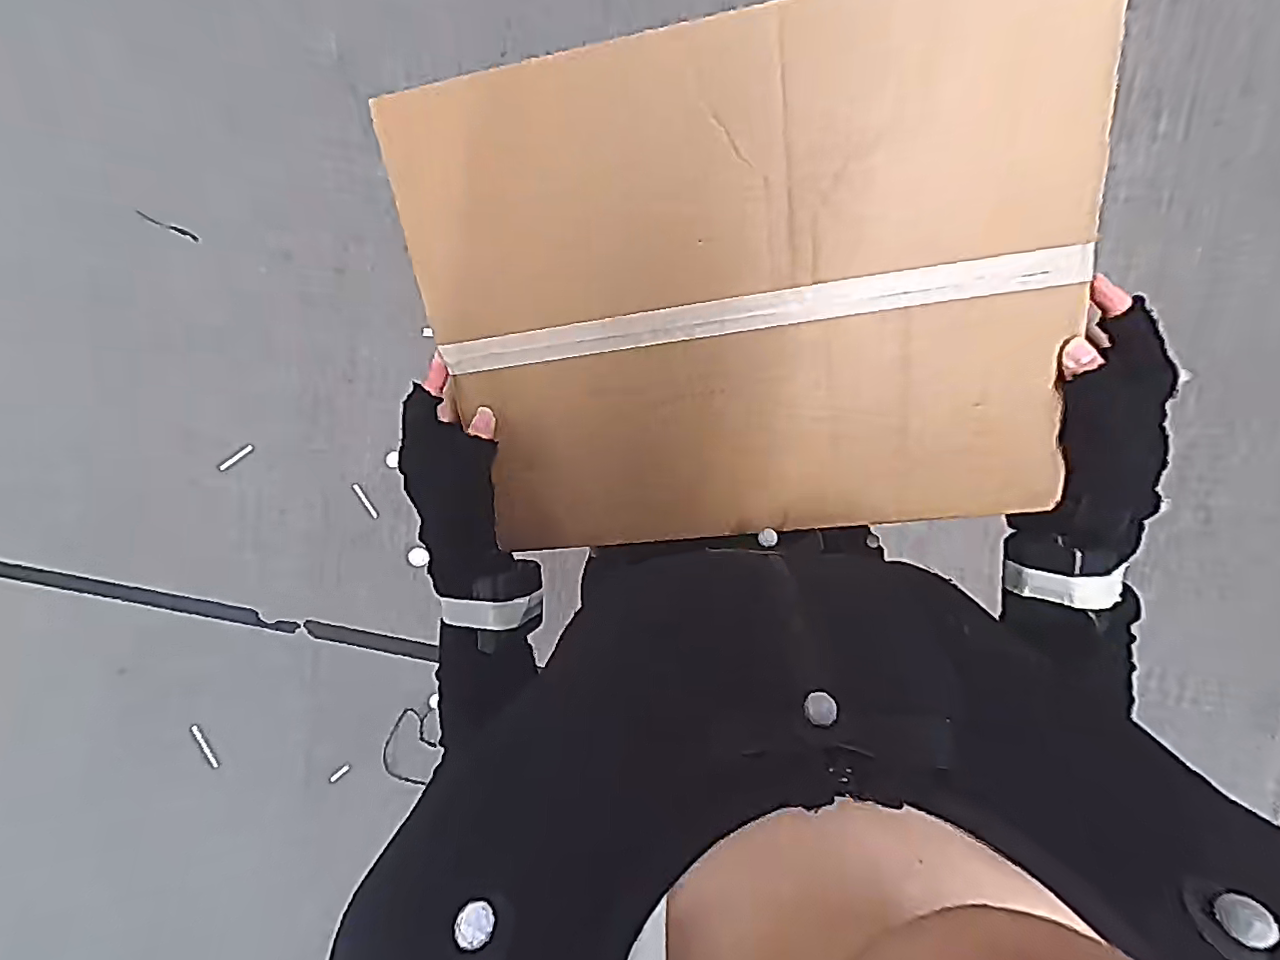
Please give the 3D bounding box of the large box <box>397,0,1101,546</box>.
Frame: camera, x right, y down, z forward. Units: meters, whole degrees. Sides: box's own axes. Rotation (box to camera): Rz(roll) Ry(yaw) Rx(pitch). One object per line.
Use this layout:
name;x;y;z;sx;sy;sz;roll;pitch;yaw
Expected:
large box;0.080;-0.161;0.491;0.408;0.320;0.320;-6;112;10
